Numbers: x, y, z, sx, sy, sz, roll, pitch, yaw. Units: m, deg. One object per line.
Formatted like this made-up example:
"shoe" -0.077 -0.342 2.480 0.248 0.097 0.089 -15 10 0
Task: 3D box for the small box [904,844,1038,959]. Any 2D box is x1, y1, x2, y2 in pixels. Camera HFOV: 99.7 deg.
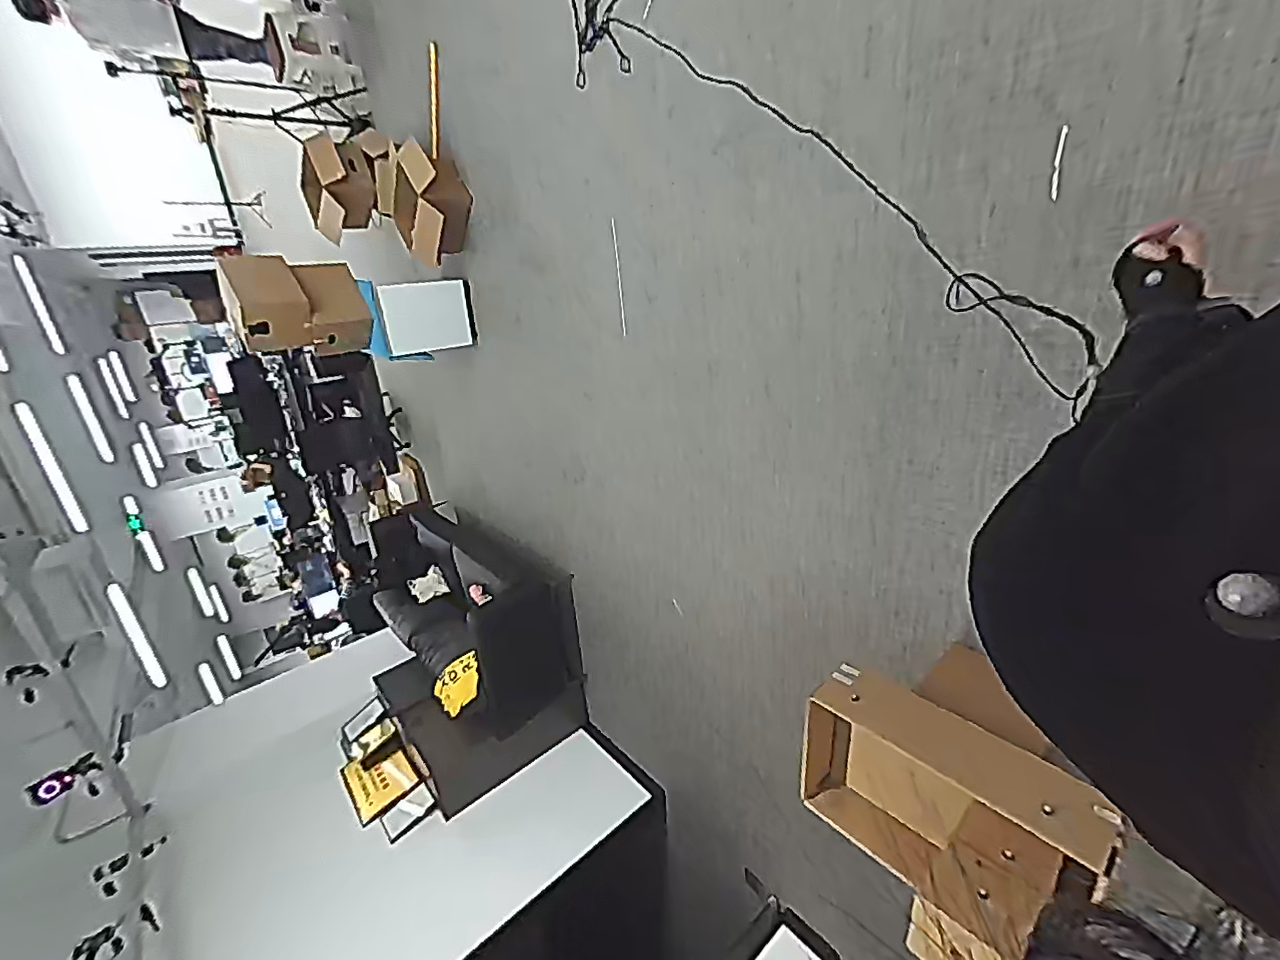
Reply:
"small box" 0.645 0.871 1.055 0.168 0.176 0.179 21 122 47
